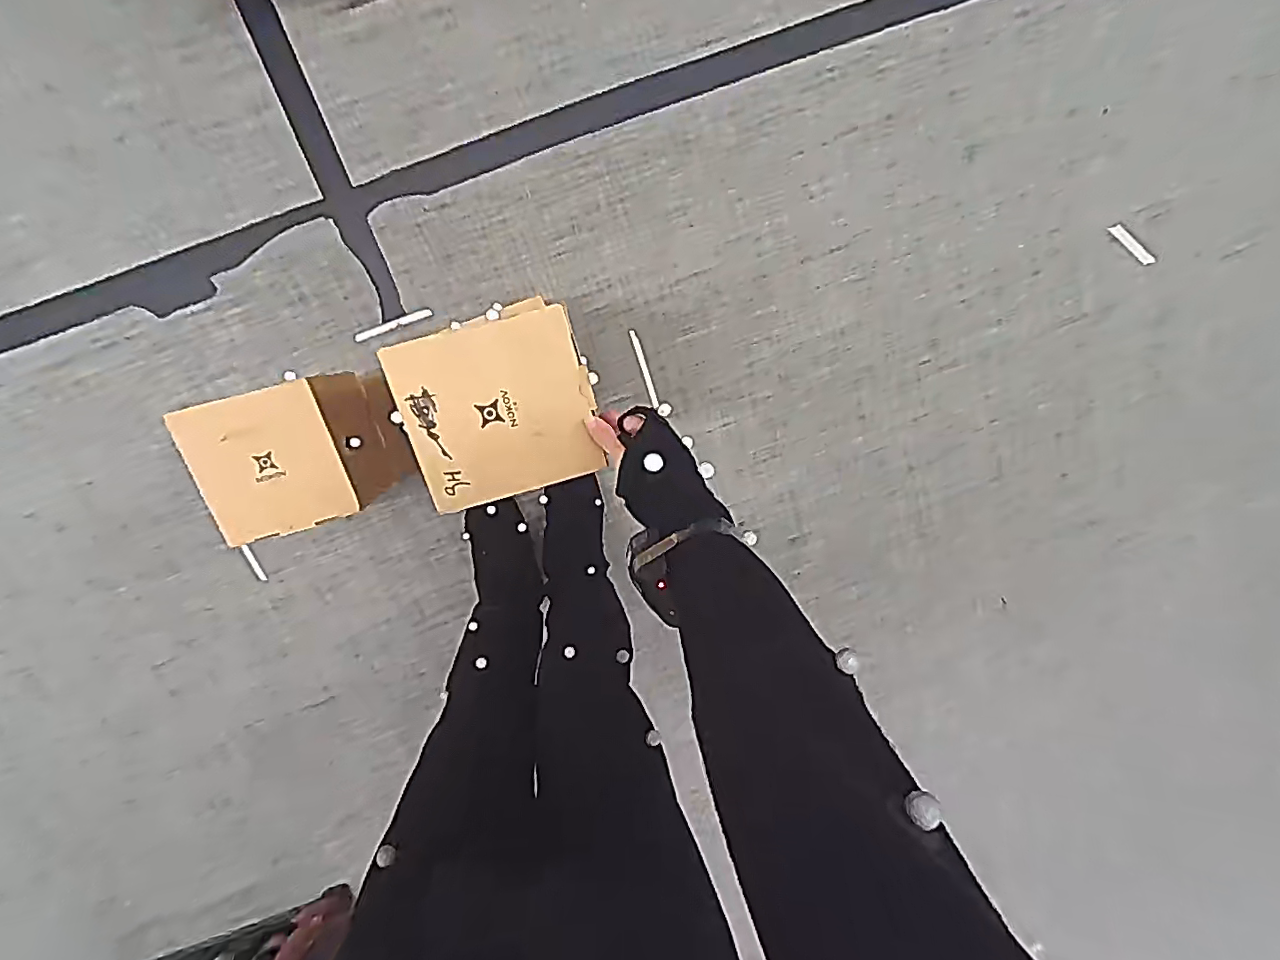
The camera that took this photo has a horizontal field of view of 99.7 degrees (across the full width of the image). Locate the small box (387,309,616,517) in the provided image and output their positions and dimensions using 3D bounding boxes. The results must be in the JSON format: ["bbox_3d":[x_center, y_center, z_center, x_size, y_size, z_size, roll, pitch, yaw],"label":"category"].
[{"bbox_3d":[-0.139,-0.082,0.583,0.179,0.176,0.168,-16,107,-6],"label":"small box"}]

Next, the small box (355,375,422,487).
[{"bbox_3d":[-0.480,-0.069,0.878,0.179,0.176,0.168,-15,107,-5],"label":"small box"}]

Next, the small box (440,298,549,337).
[{"bbox_3d":[-0.200,-0.185,0.889,0.168,0.176,0.179,-21,107,-3],"label":"small box"}]

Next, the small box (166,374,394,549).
[{"bbox_3d":[-0.455,-0.035,0.721,0.168,0.176,0.179,-17,106,-6],"label":"small box"}]
